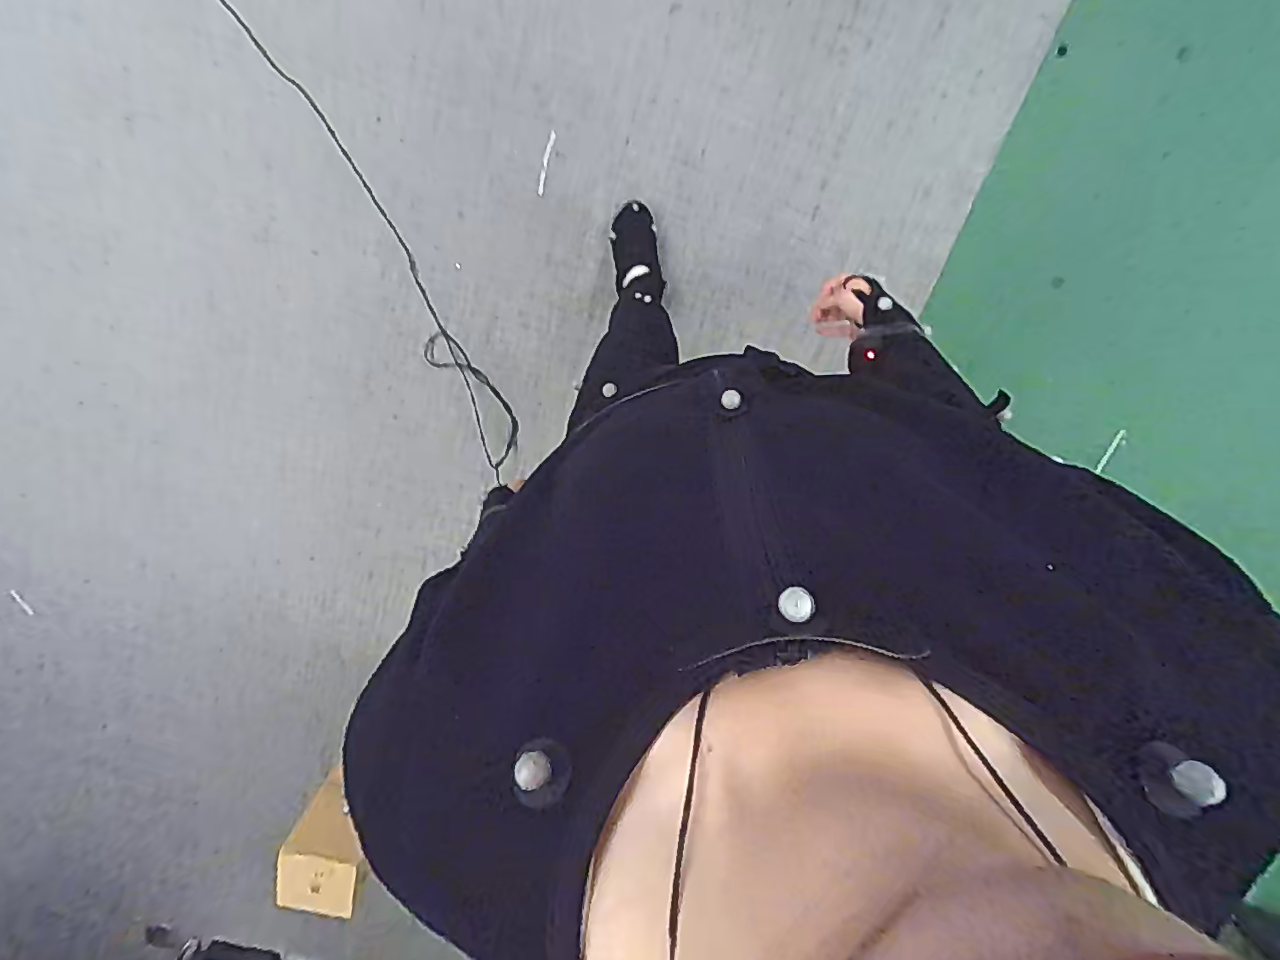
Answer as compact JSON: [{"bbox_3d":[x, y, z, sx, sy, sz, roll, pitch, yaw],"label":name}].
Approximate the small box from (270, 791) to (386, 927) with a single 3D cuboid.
[{"bbox_3d":[-0.699,0.851,1.224,0.168,0.176,0.179,15,109,-4],"label":"small box"}]
